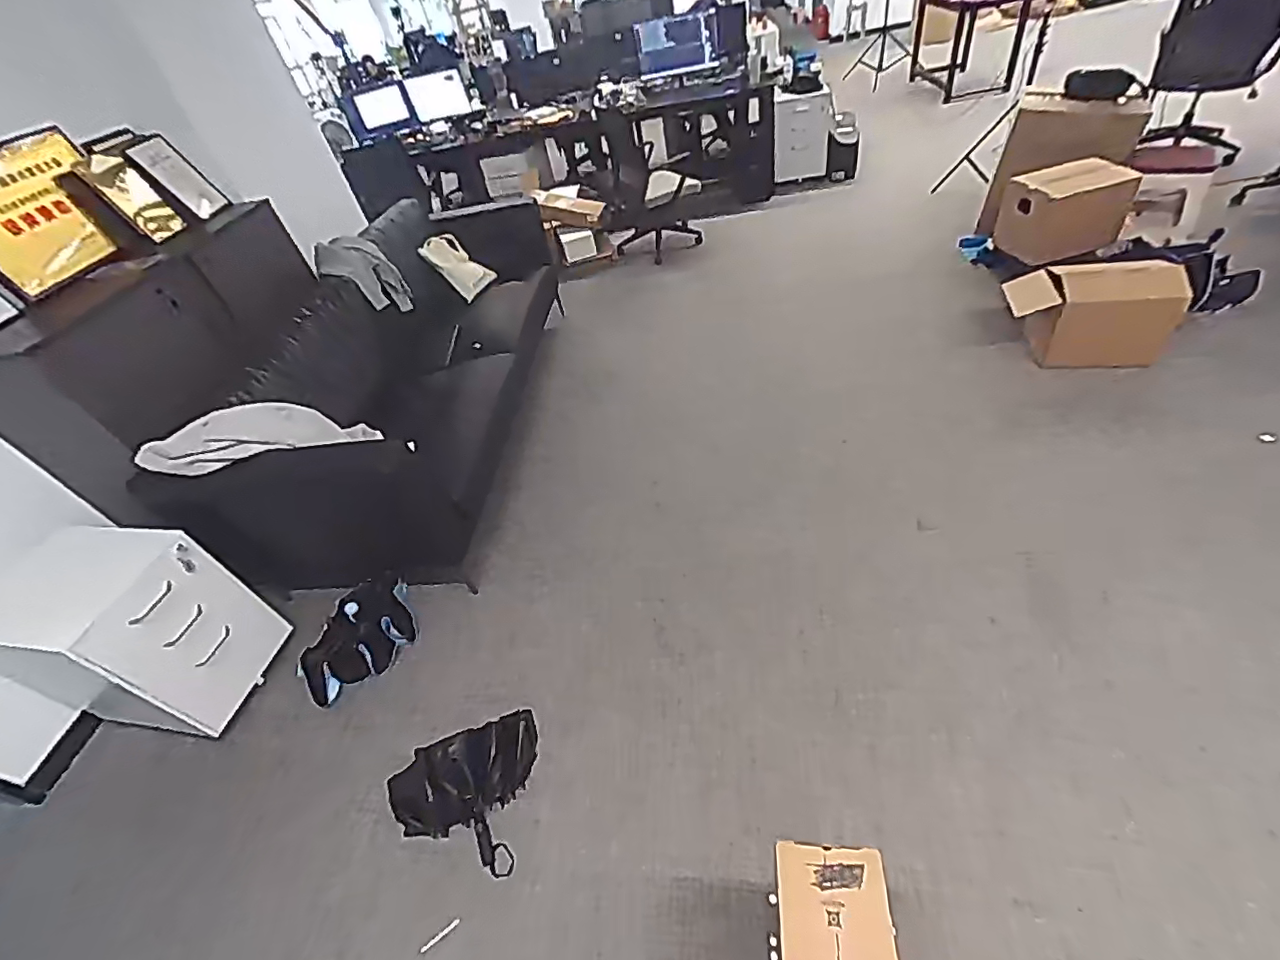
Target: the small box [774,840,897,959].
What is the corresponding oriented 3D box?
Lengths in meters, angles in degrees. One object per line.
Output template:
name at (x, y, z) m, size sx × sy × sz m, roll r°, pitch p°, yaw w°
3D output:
small box at (0.311, 0.721, 0.890) m, size 0.168 × 0.176 × 0.179 m, roll -3°, pitch 46°, yaw 11°
